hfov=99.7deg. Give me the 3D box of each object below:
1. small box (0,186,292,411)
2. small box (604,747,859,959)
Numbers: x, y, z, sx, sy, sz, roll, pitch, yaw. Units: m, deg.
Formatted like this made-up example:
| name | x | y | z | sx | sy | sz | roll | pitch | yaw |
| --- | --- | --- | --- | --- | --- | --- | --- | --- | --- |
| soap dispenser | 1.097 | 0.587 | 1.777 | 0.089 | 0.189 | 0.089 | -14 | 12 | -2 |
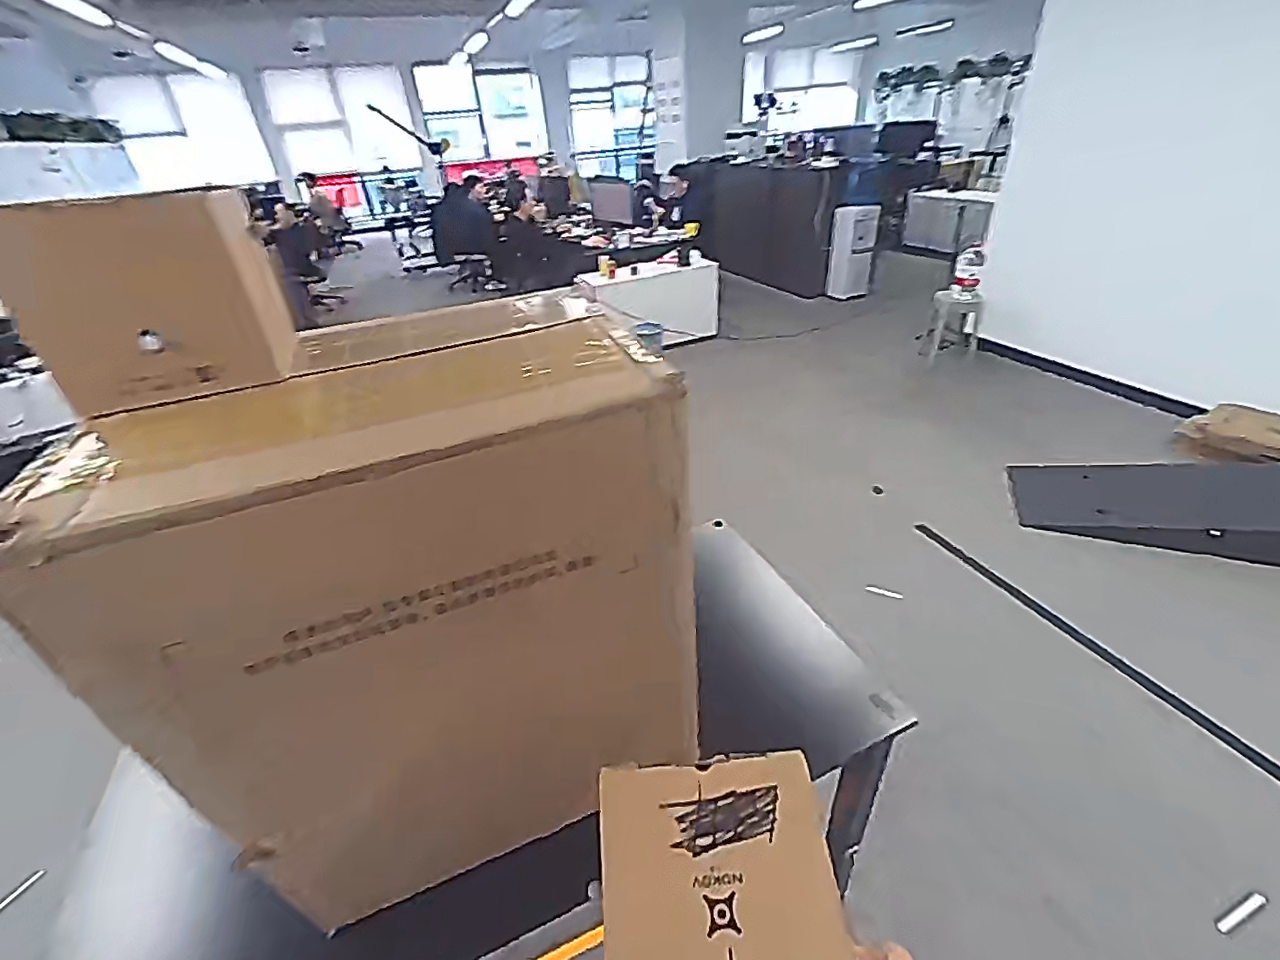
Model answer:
| name | x | y | z | sx | sy | sz | roll | pitch | yaw |
| --- | --- | --- | --- | --- | --- | --- | --- | --- | --- |
| small box | -0.464 | -0.183 | 0.525 | 0.168 | 0.176 | 0.179 | -17 | 33 | -19 |
| small box | 0.058 | 0.336 | 0.435 | 0.168 | 0.176 | 0.179 | -4 | 51 | -3 |
